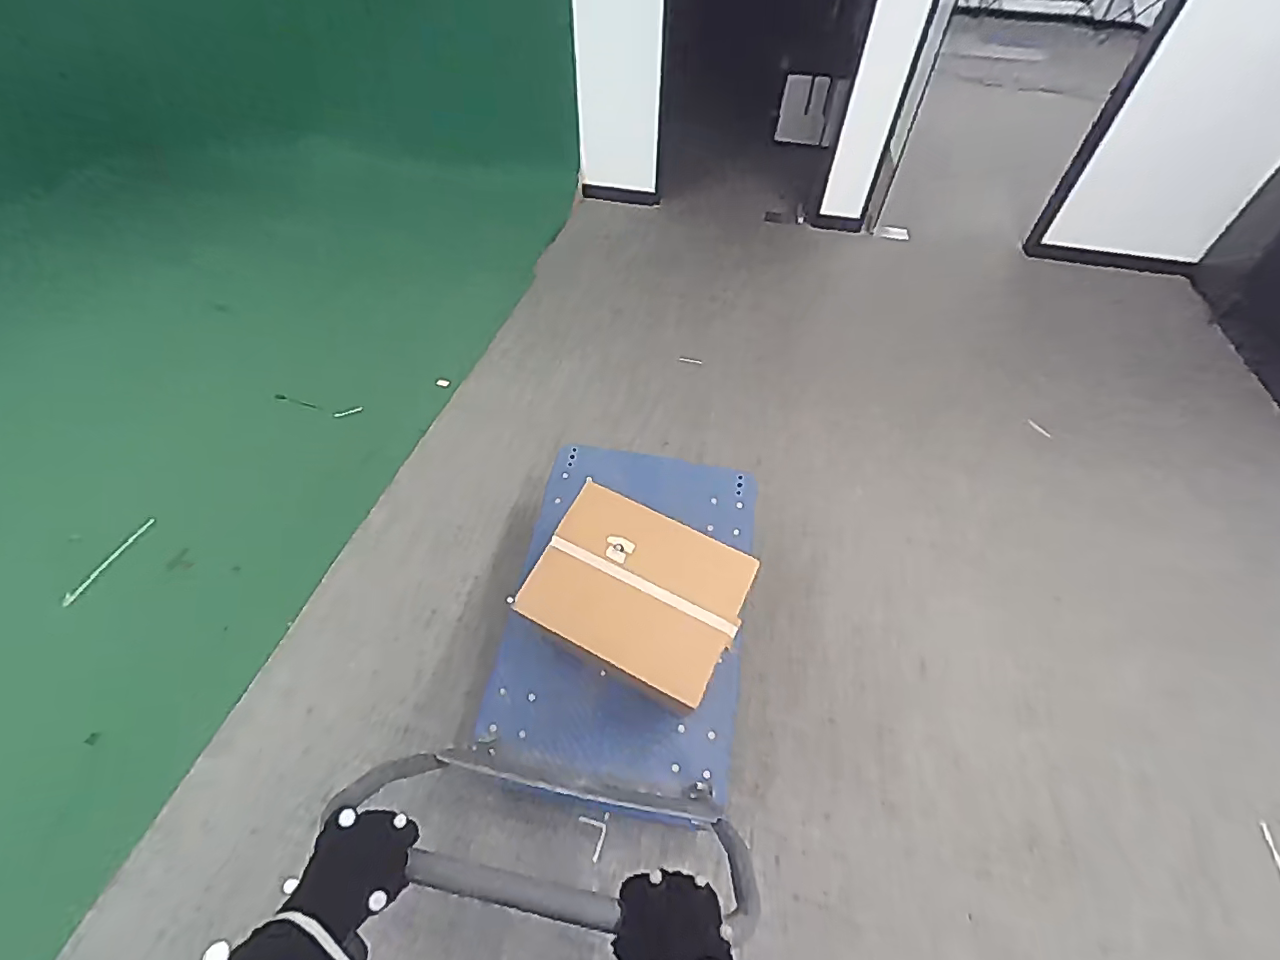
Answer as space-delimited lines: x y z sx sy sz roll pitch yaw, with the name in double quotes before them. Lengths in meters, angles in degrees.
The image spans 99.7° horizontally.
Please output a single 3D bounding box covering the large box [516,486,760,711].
"large box" 0.007 0.274 1.202 0.408 0.320 0.320 24 67 14
